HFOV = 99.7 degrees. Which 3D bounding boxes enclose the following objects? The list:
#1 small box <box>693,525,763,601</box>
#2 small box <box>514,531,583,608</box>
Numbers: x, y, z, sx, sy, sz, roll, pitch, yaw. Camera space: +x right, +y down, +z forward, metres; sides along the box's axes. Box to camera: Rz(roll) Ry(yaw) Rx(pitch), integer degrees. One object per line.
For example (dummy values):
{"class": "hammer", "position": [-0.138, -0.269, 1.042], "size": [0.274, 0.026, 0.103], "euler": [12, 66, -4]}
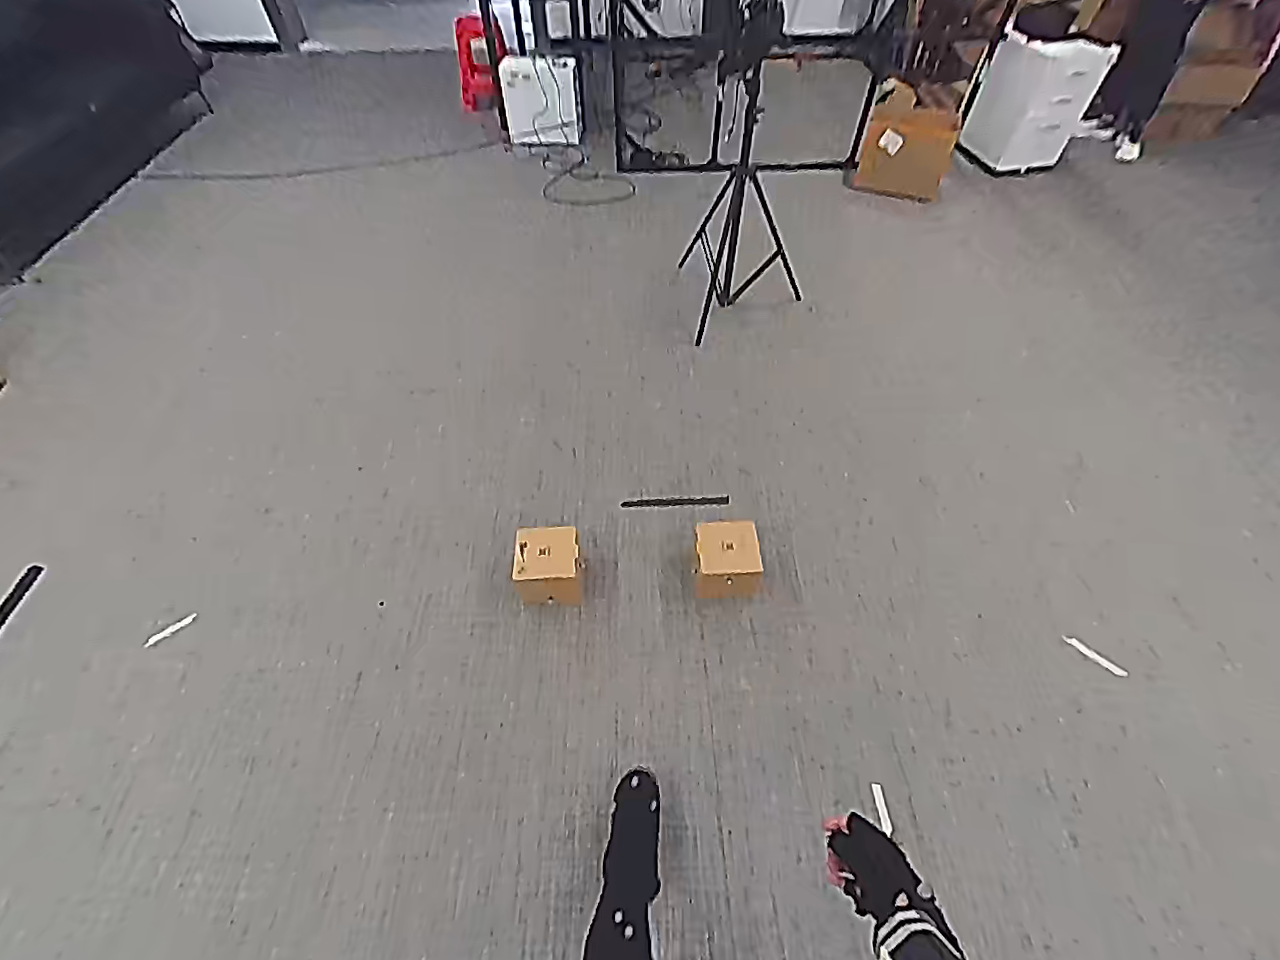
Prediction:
{"class": "small box", "position": [0.251, 0.247, 1.590], "size": [0.179, 0.176, 0.168], "euler": [-2, 54, -2]}
{"class": "small box", "position": [-0.260, 0.265, 1.583], "size": [0.179, 0.176, 0.168], "euler": [-2, 53, -1]}
